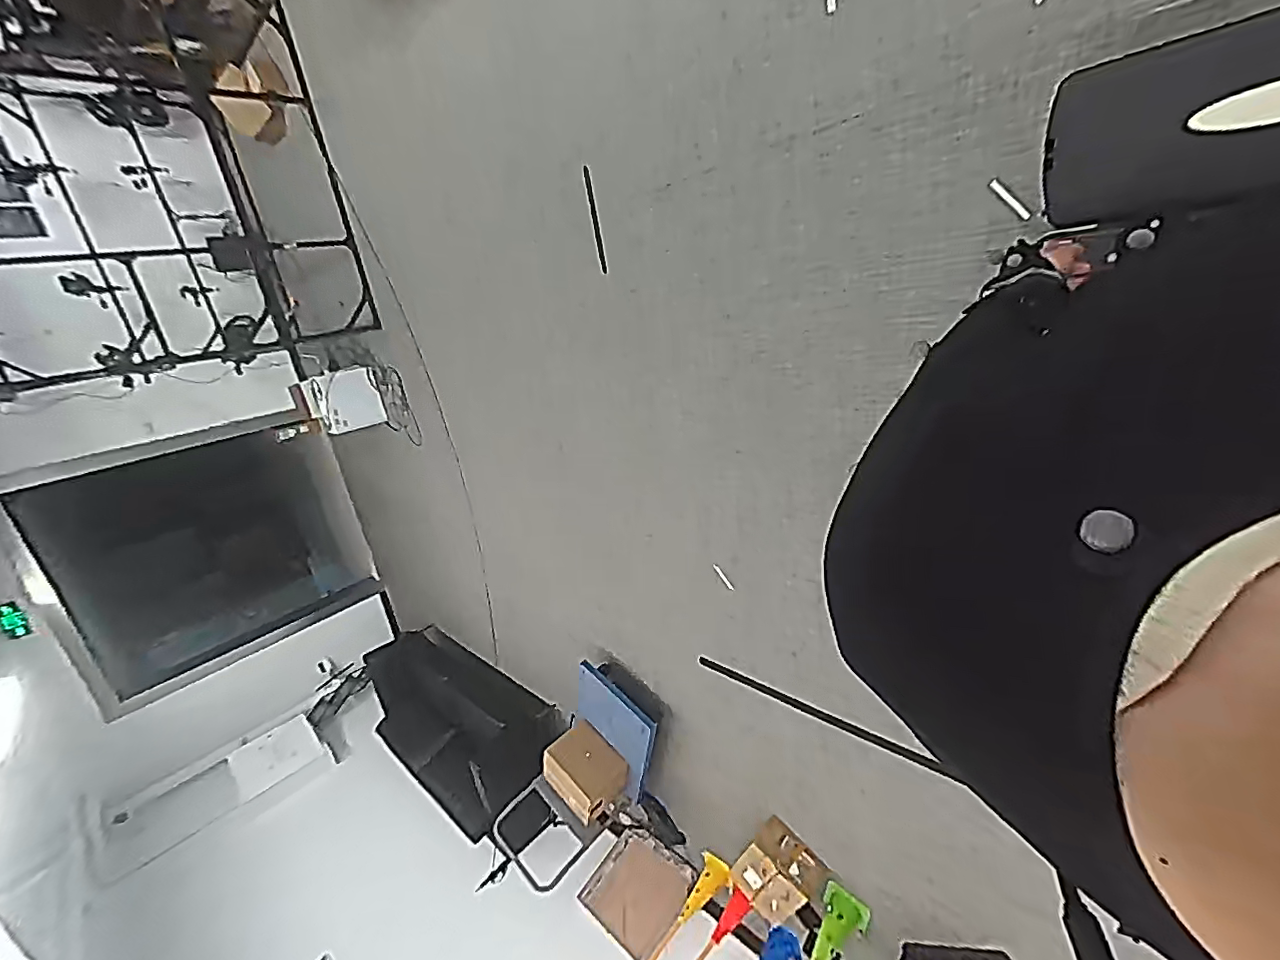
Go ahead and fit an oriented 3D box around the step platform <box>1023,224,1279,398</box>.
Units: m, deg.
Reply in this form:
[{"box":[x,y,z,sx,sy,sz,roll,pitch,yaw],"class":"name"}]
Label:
[{"box":[1.100,-0.301,0.957,0.684,0.204,0.286,17,120,44],"class":"step platform"}]
